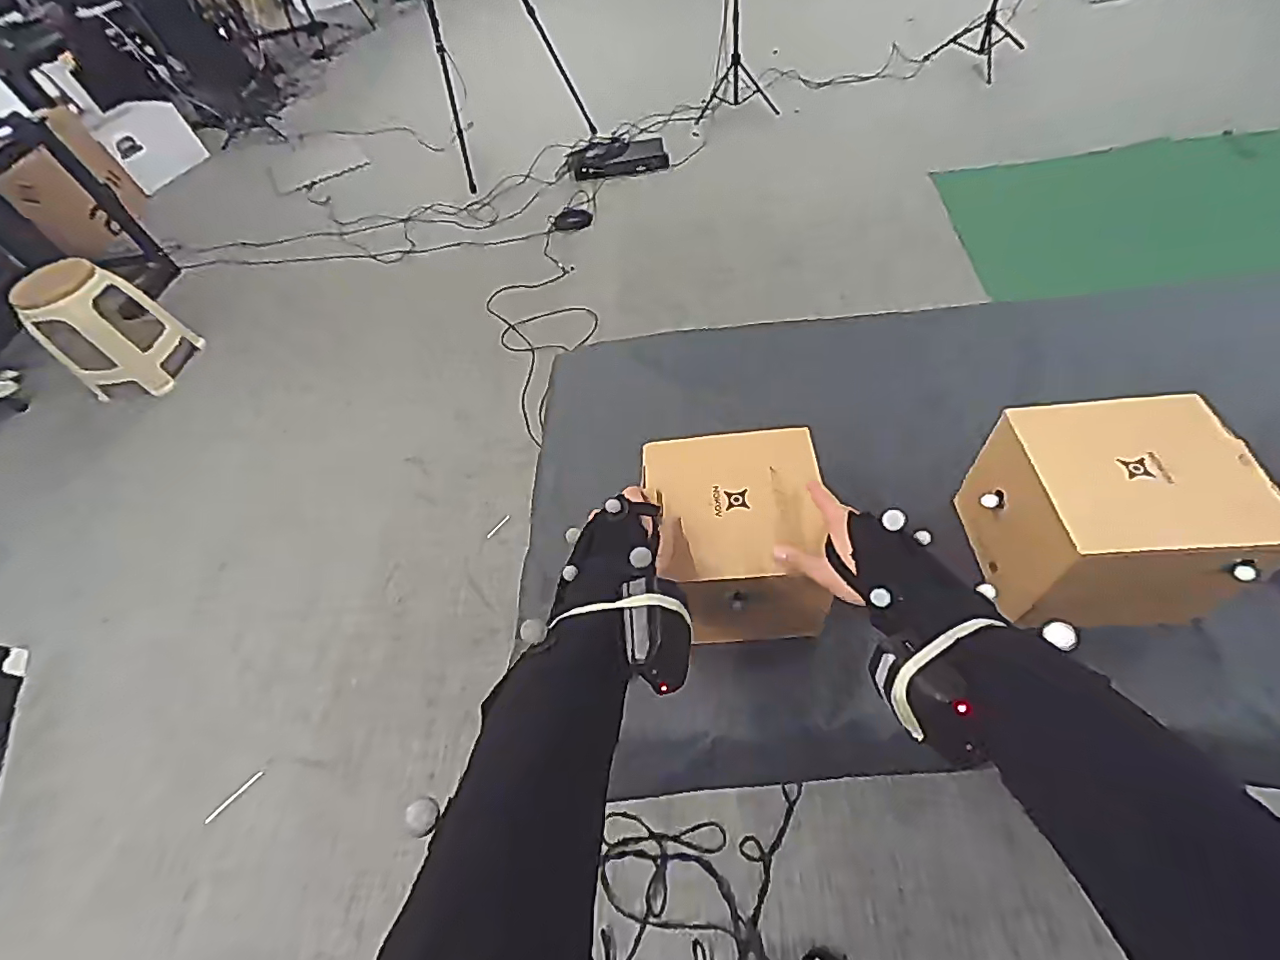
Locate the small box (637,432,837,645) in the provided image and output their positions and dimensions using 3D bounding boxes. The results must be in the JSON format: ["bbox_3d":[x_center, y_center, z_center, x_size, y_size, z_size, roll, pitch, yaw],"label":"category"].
[{"bbox_3d":[0.094,0.070,0.580,0.179,0.176,0.168,-4,54,5],"label":"small box"}]

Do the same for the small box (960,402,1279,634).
[{"bbox_3d":[0.449,0.045,0.539,0.179,0.176,0.168,-4,53,6],"label":"small box"}]
